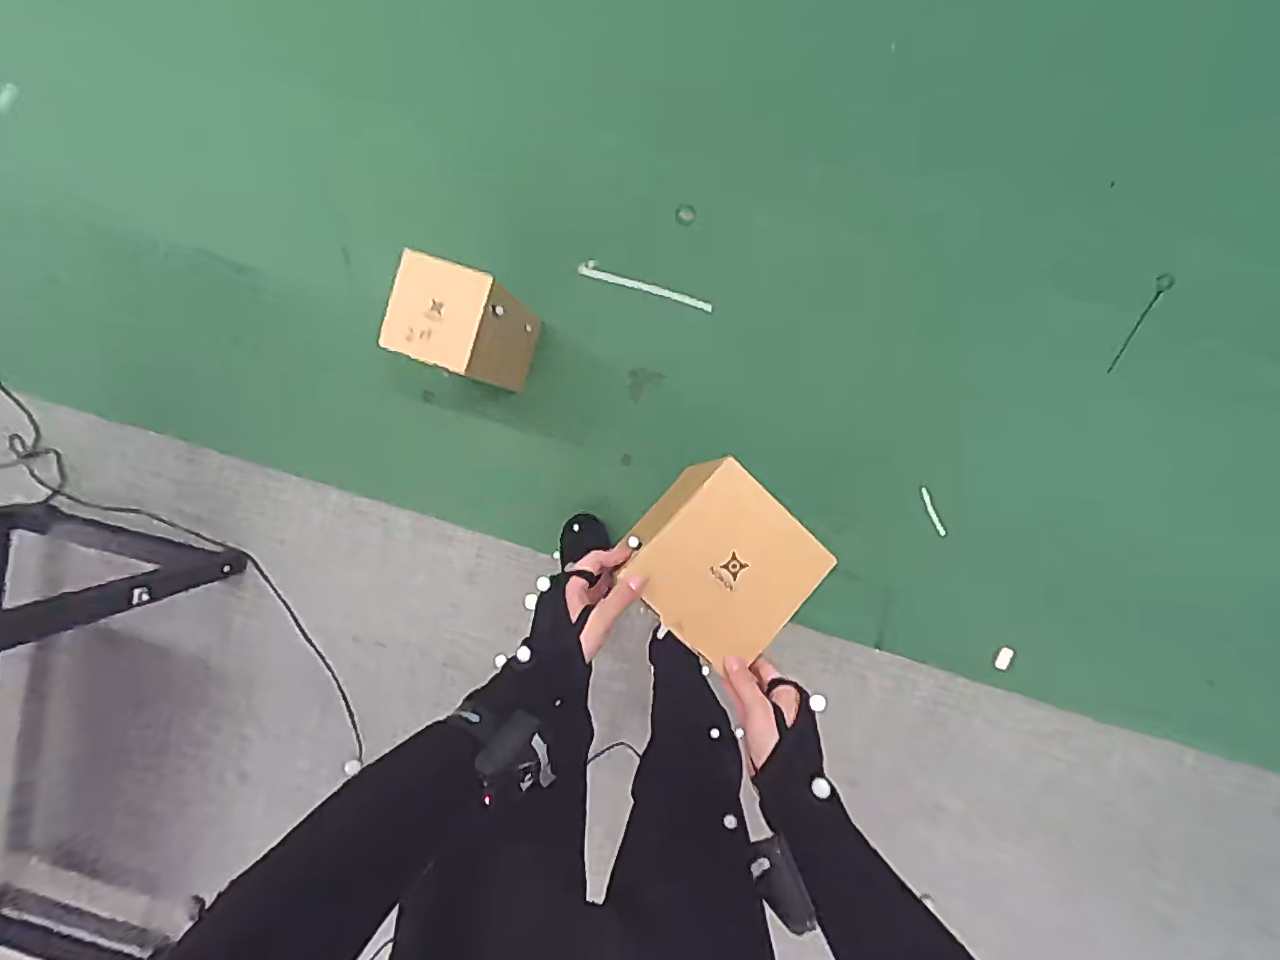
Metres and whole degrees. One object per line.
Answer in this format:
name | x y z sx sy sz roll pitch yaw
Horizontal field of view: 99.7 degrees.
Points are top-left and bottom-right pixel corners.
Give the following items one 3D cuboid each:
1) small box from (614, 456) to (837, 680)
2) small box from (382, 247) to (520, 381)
small box | 0.085 0.092 0.637 0.168 0.176 0.179 44 83 -5
small box | -0.340 -0.298 1.007 0.168 0.176 0.179 19 95 4
